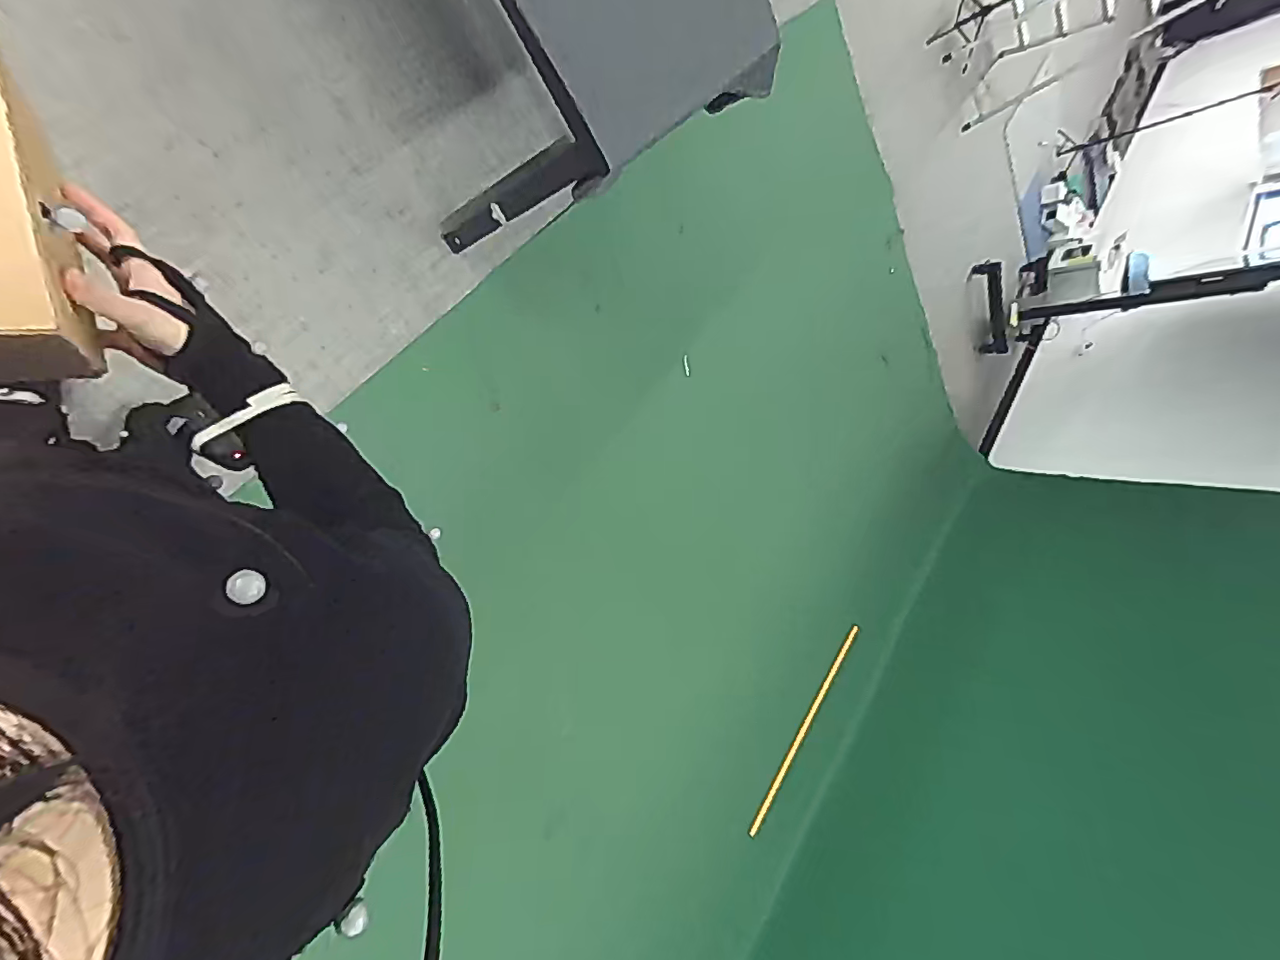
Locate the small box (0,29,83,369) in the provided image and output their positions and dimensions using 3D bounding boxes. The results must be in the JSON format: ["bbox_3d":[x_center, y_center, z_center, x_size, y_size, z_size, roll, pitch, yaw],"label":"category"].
[{"bbox_3d":[-0.453,-0.162,0.305,0.168,0.176,0.179,-13,100,-41],"label":"small box"}]
